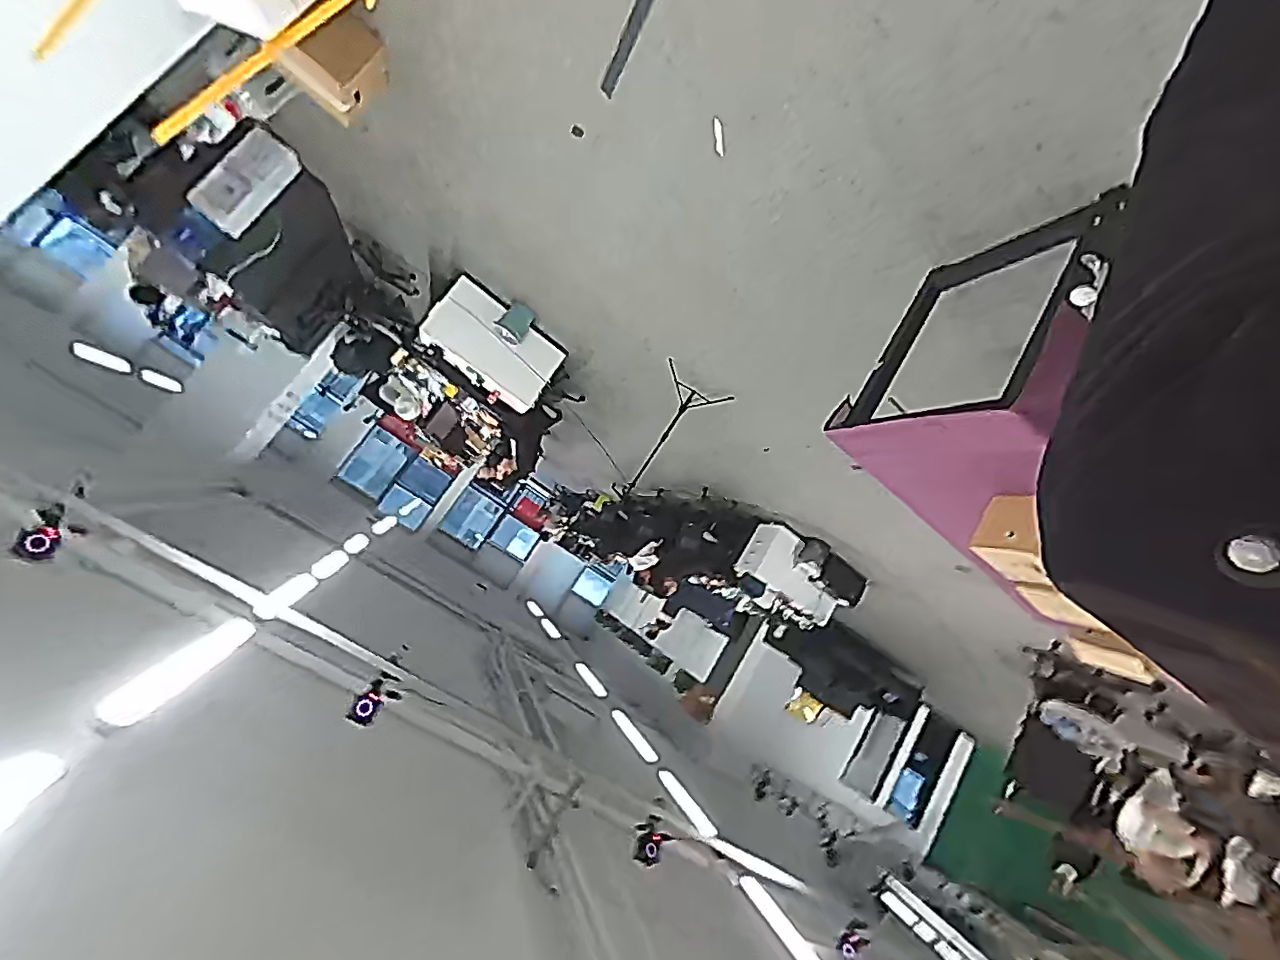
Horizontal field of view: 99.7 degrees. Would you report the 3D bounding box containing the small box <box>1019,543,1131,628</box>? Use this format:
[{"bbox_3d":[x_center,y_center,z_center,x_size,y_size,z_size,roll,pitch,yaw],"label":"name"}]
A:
[{"bbox_3d":[1.194,0.274,1.477,0.168,0.176,0.179,38,167,-20],"label":"small box"}]

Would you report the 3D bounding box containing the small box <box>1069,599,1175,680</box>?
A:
[{"bbox_3d":[1.425,0.454,1.599,0.168,0.176,0.179,38,166,-27],"label":"small box"}]

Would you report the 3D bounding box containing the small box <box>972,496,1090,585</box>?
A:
[{"bbox_3d":[1.023,0.151,1.408,0.168,0.176,0.179,35,169,-13],"label":"small box"}]
